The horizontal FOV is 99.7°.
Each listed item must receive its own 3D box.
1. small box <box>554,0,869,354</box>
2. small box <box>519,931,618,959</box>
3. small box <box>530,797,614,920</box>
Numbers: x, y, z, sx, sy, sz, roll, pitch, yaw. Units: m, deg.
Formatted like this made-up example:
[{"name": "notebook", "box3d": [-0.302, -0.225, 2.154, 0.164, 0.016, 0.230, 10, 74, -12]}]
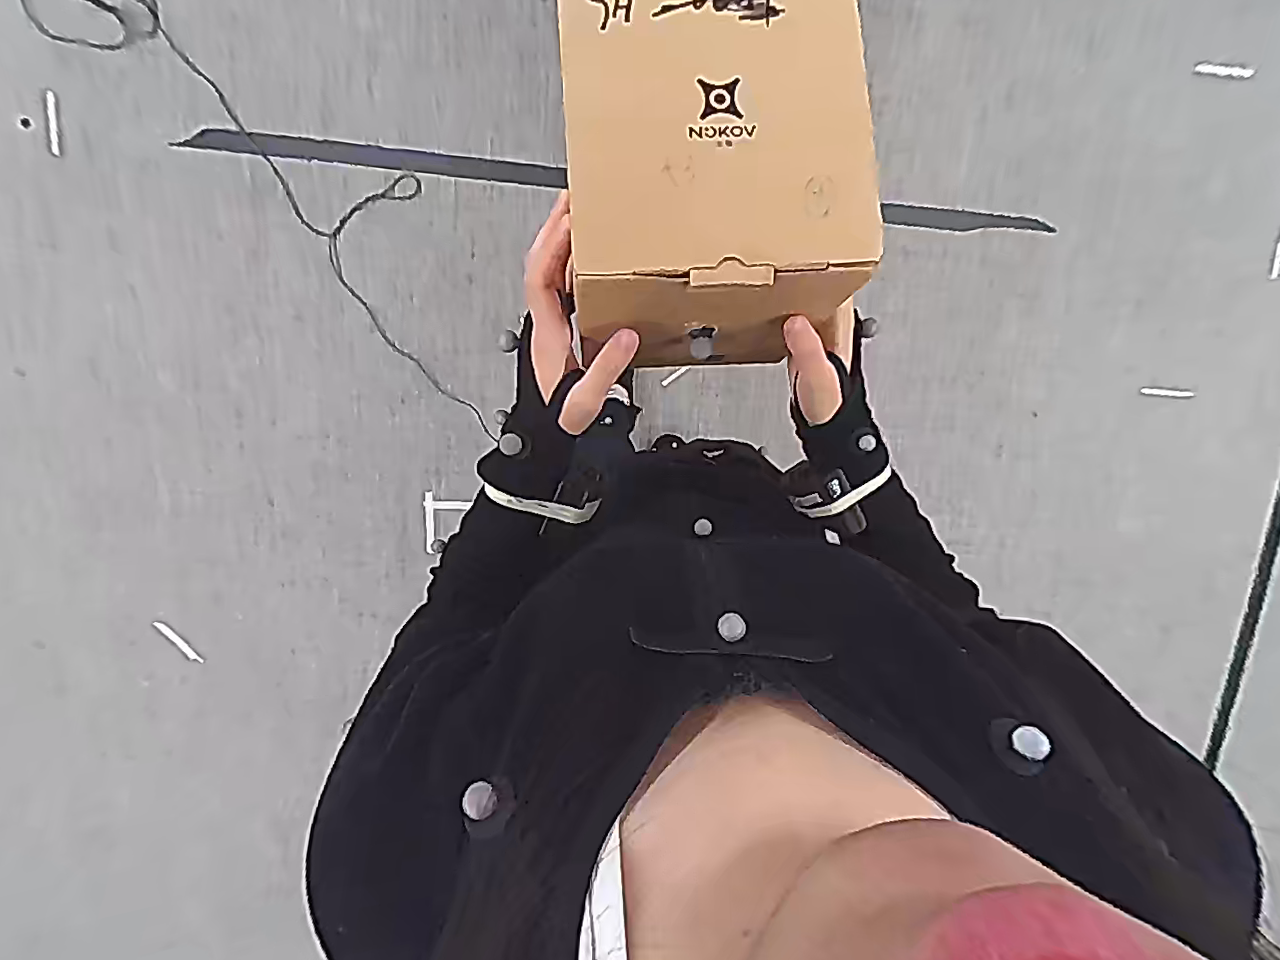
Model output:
[{"name": "small box", "box3d": [0.034, -0.191, 0.371, 0.168, 0.176, 0.179, -3, 86, -4]}, {"name": "small box", "box3d": [-0.134, 0.914, 0.916, 0.179, 0.176, 0.168, 7, 99, -3]}, {"name": "small box", "box3d": [-0.150, 0.858, 1.240, 0.179, 0.176, 0.168, 3, 98, -2]}]
